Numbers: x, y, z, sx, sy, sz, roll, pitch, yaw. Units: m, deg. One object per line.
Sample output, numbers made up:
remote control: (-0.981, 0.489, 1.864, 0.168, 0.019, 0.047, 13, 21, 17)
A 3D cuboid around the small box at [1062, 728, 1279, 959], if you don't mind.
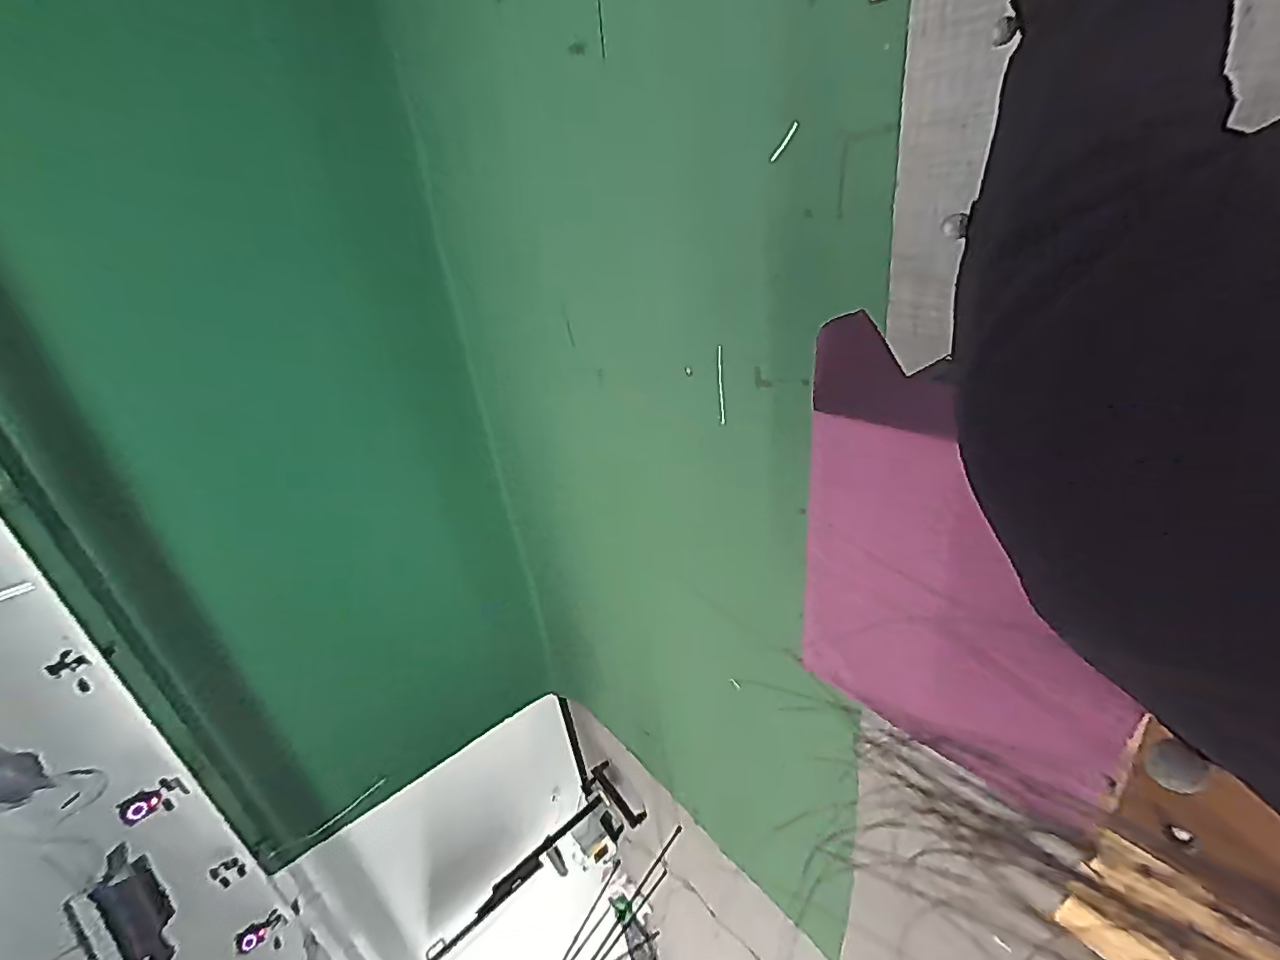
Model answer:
small box: (0.525, 0.364, 0.476, 0.179, 0.176, 0.168, 27, 132, 44)
